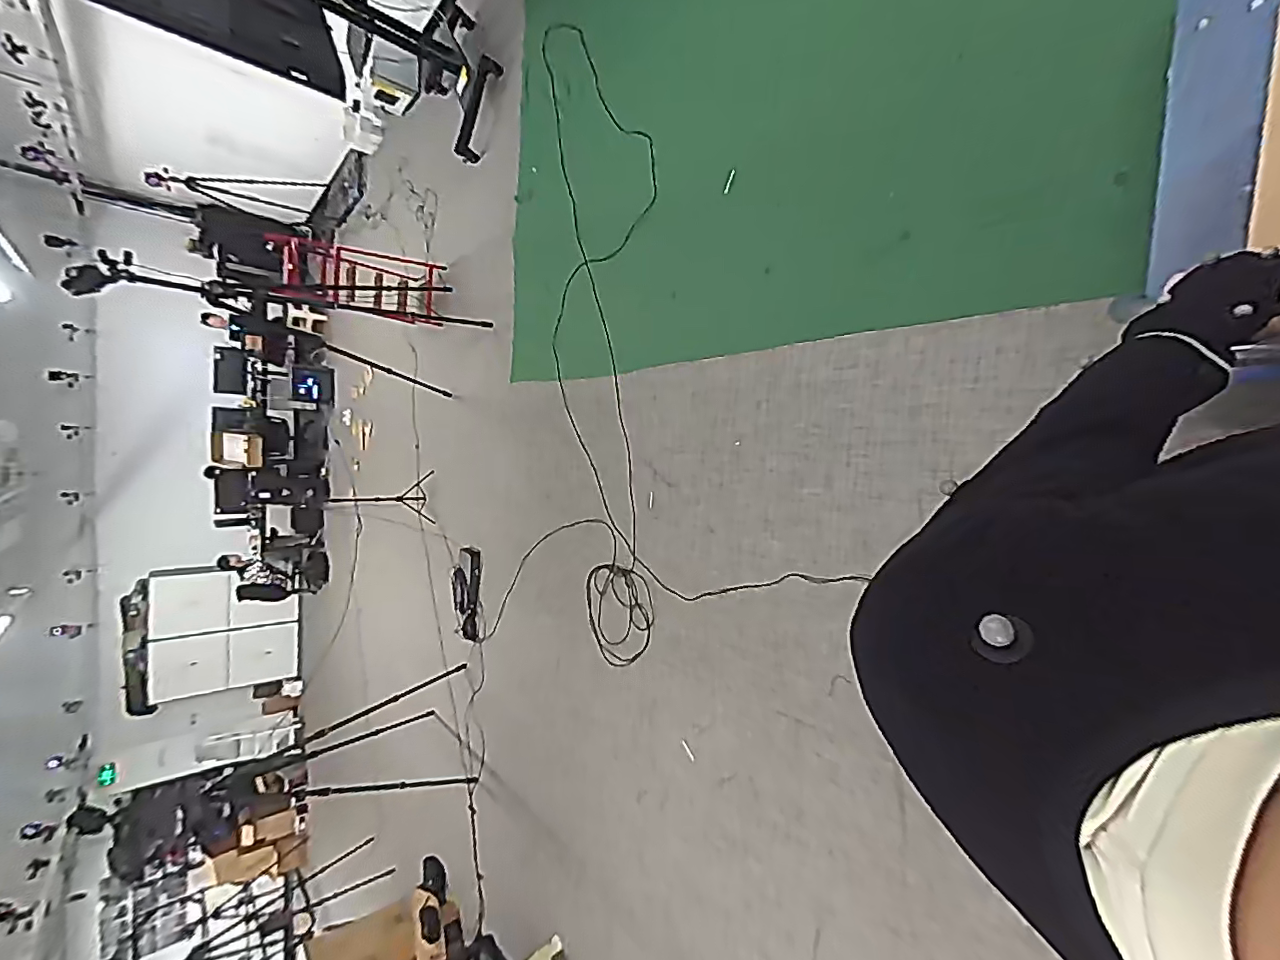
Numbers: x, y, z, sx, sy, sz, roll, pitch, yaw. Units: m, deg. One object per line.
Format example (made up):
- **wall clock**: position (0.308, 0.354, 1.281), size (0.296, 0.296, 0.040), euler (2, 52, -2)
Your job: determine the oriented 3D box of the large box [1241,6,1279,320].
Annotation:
- **large box**: position (1.132, -0.484, 0.788), size (0.320, 0.320, 0.408), euler (7, 95, 48)
